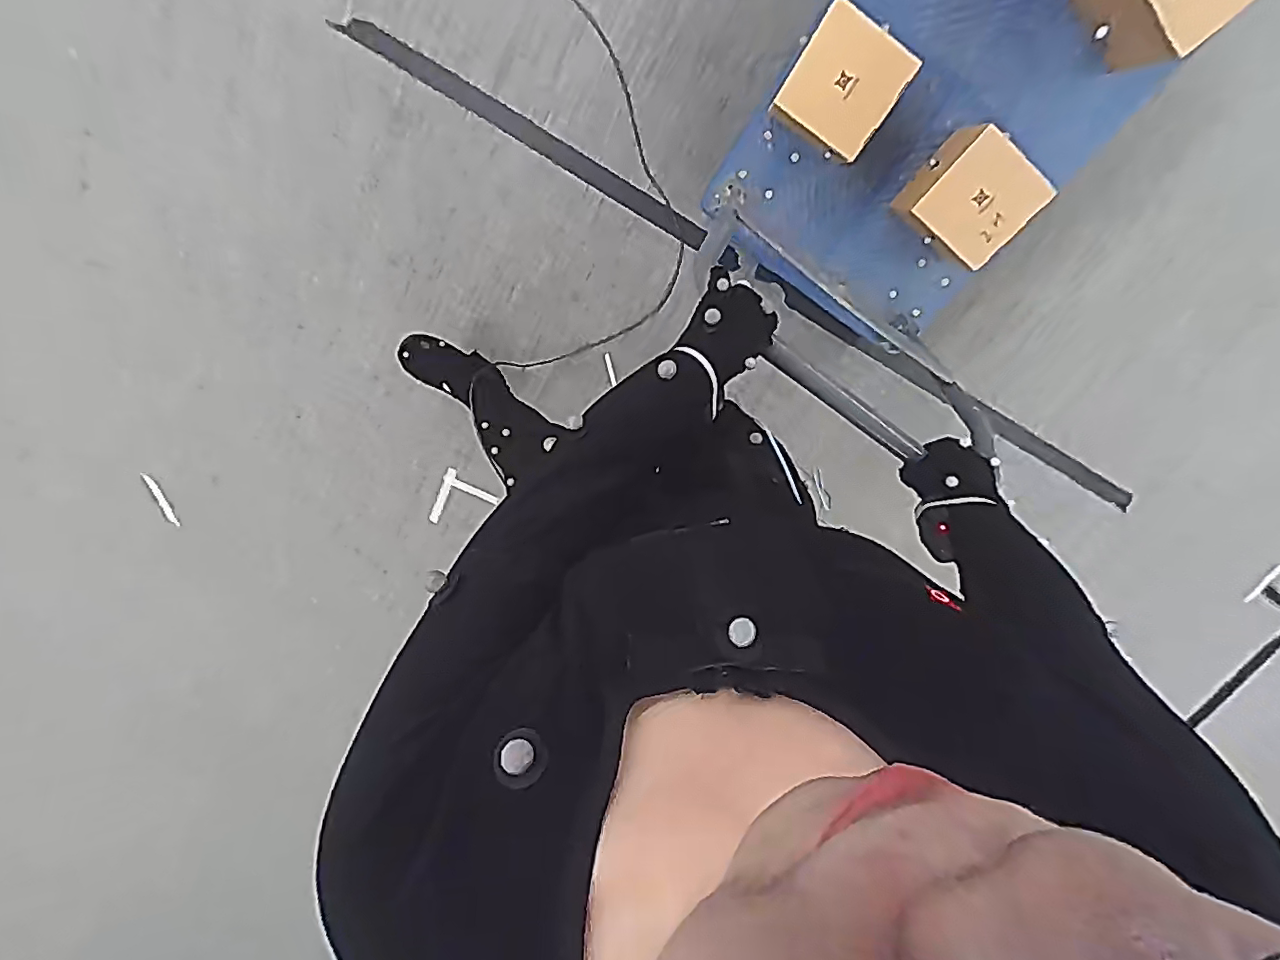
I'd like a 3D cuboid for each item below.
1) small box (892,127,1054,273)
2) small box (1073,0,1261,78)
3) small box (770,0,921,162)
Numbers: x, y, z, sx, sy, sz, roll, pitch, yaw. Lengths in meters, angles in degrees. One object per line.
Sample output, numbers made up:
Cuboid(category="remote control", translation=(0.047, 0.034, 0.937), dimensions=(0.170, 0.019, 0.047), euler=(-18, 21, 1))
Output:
Cuboid(category="small box", translation=(0.612, -0.523, 1.022), dimensions=(0.179, 0.176, 0.168), euler=(37, 119, -12))
Cuboid(category="small box", translation=(0.840, -0.777, 0.842), dimensions=(0.168, 0.176, 0.179), euler=(44, 118, -15))
Cuboid(category="small box", translation=(0.352, -0.696, 0.968), dimensions=(0.179, 0.176, 0.168), euler=(31, 119, -10))
